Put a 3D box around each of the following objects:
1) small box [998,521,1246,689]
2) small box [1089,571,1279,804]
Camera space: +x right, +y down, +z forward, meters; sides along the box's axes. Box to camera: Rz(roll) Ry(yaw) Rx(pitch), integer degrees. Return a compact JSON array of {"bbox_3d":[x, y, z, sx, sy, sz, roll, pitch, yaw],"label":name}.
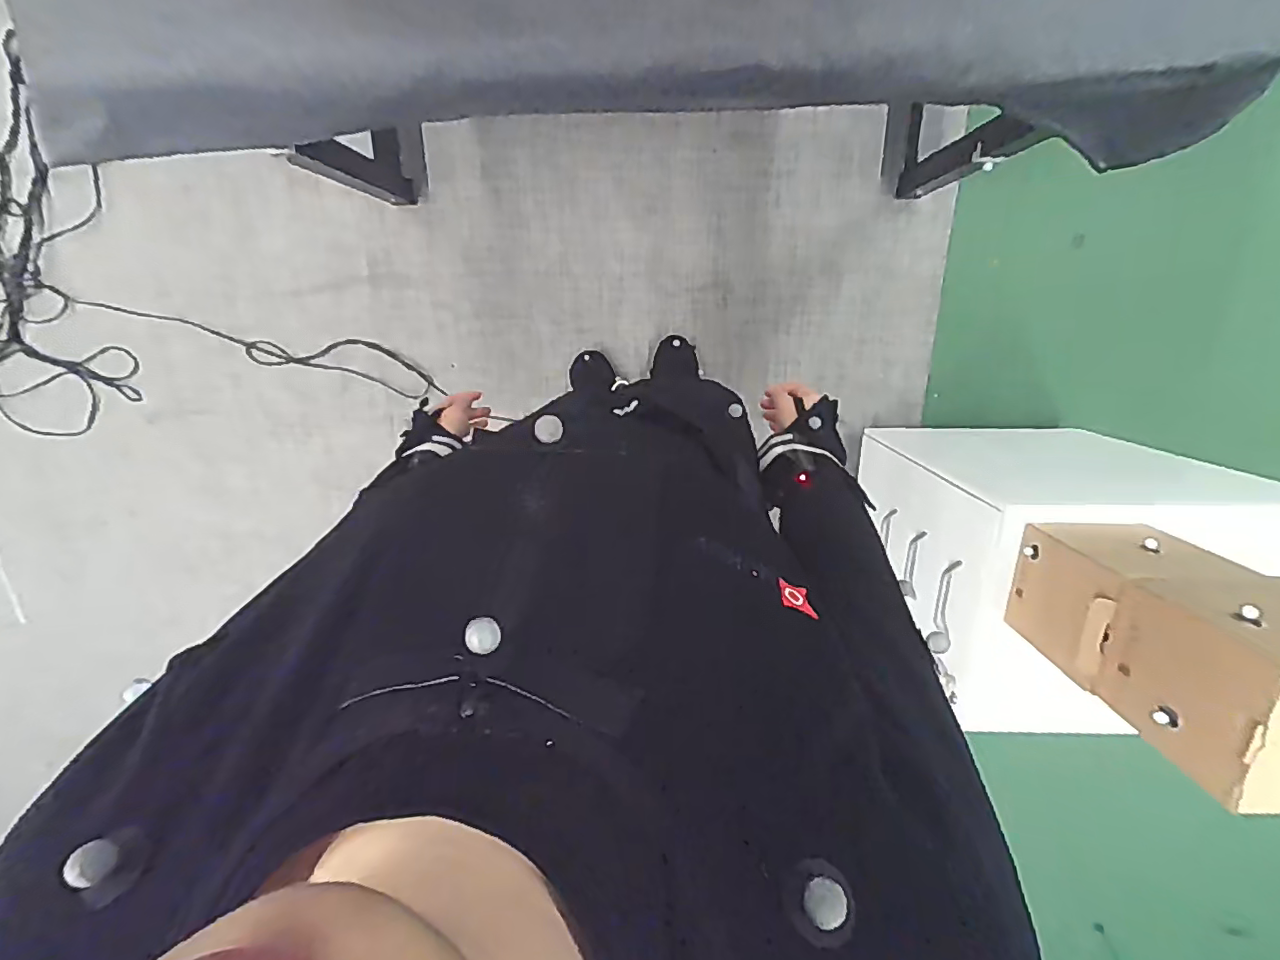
[{"bbox_3d":[0.629,0.161,0.730,0.179,0.176,0.168,0,108,-1],"label":"small box"},{"bbox_3d":[0.637,0.208,0.574,0.179,0.176,0.168,-2,109,0],"label":"small box"}]
